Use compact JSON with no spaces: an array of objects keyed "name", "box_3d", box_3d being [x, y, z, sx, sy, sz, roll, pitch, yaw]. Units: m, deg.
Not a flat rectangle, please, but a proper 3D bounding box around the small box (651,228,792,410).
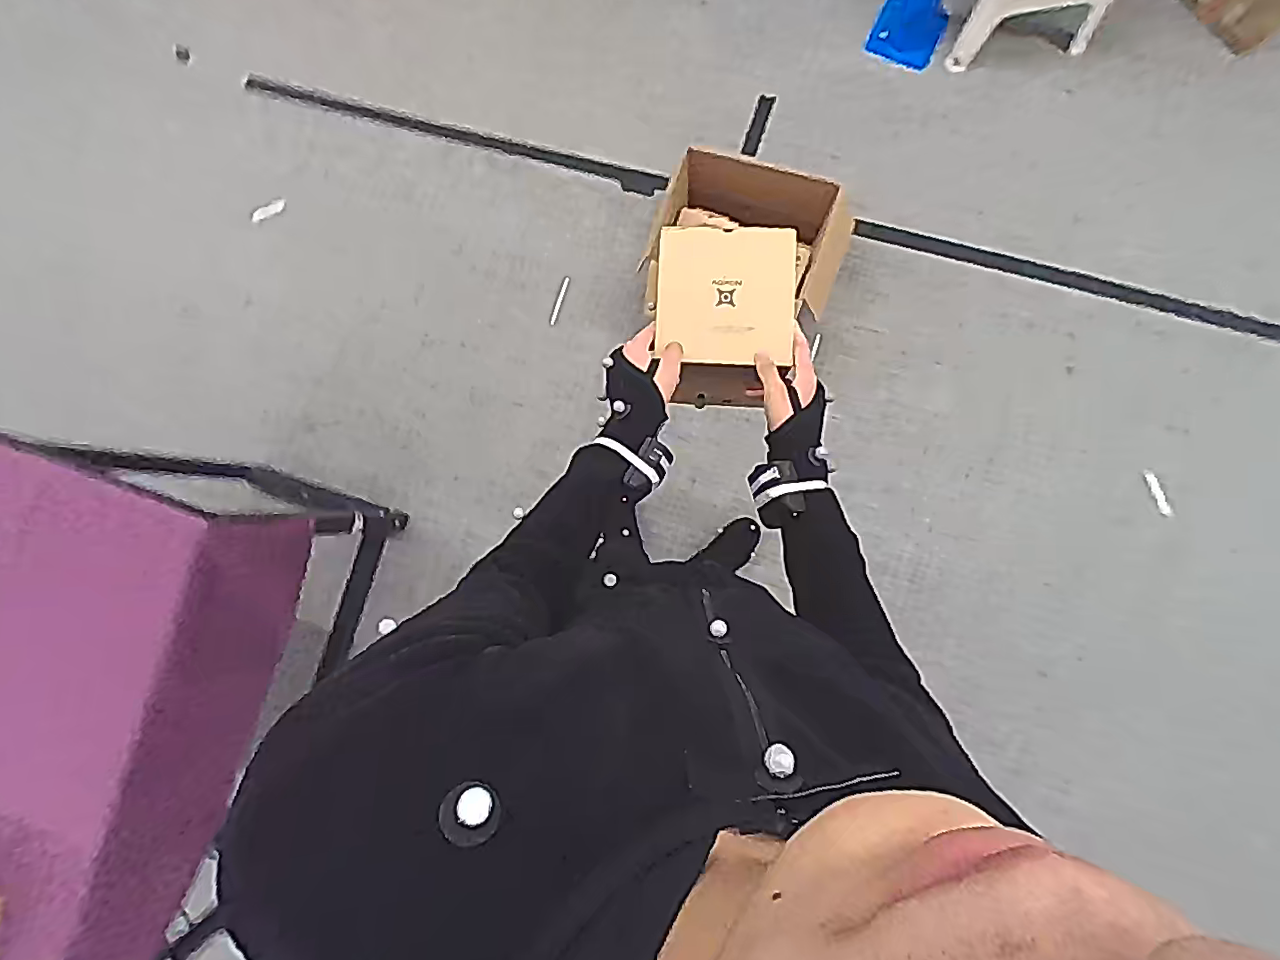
[{"name":"small box","box_3d":[0.101,-0.207,0.727,0.168,0.176,0.179,3,80,3]}]
